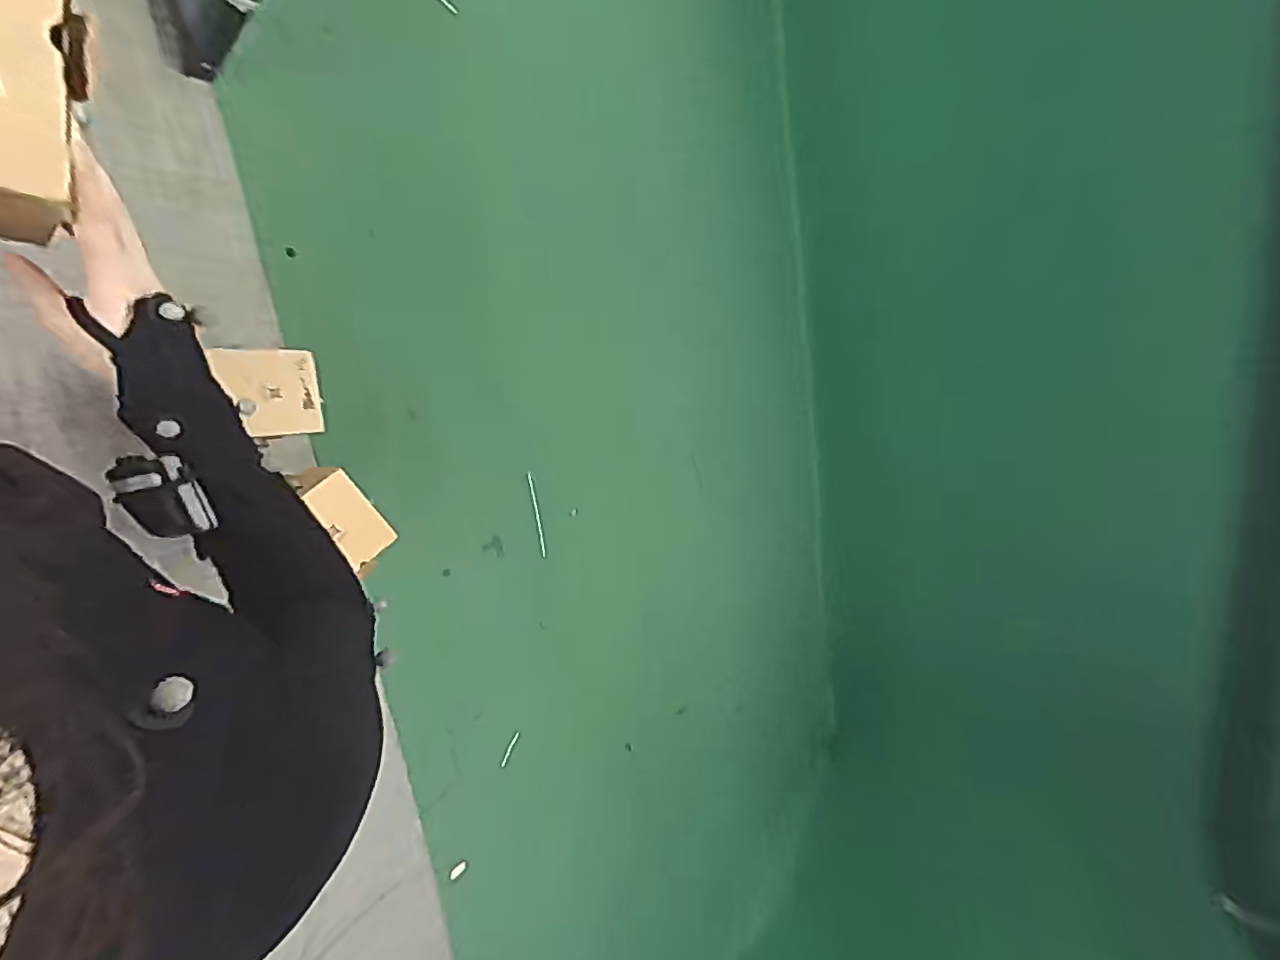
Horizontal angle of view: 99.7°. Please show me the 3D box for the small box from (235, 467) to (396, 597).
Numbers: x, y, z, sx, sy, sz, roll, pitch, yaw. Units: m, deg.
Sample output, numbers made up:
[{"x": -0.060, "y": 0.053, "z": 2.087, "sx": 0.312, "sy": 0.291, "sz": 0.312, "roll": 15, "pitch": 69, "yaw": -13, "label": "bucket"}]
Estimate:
[{"x": -0.613, "y": 0.092, "z": 1.021, "sx": 0.168, "sy": 0.176, "sz": 0.179, "roll": -50, "pitch": 128, "yaw": -35, "label": "small box"}]

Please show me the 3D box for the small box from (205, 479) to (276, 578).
[{"x": -0.853, "y": 0.101, "z": 1.240, "sx": 0.168, "sy": 0.176, "sz": 0.179, "roll": -31, "pitch": 116, "yaw": -44, "label": "small box"}]

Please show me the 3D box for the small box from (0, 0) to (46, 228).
[{"x": -0.408, "y": -0.232, "z": 0.249, "sx": 0.179, "sy": 0.176, "sz": 0.168, "roll": -2, "pitch": 101, "yaw": -51, "label": "small box"}]

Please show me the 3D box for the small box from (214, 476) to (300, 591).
[{"x": -0.738, "y": 0.102, "z": 1.126, "sx": 0.168, "sy": 0.176, "sz": 0.179, "roll": -45, "pitch": 125, "yaw": -37, "label": "small box"}]

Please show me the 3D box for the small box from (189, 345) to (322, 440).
[{"x": -0.767, "y": -0.170, "z": 1.074, "sx": 0.179, "sy": 0.176, "sz": 0.168, "roll": -13, "pitch": 101, "yaw": -49, "label": "small box"}]
